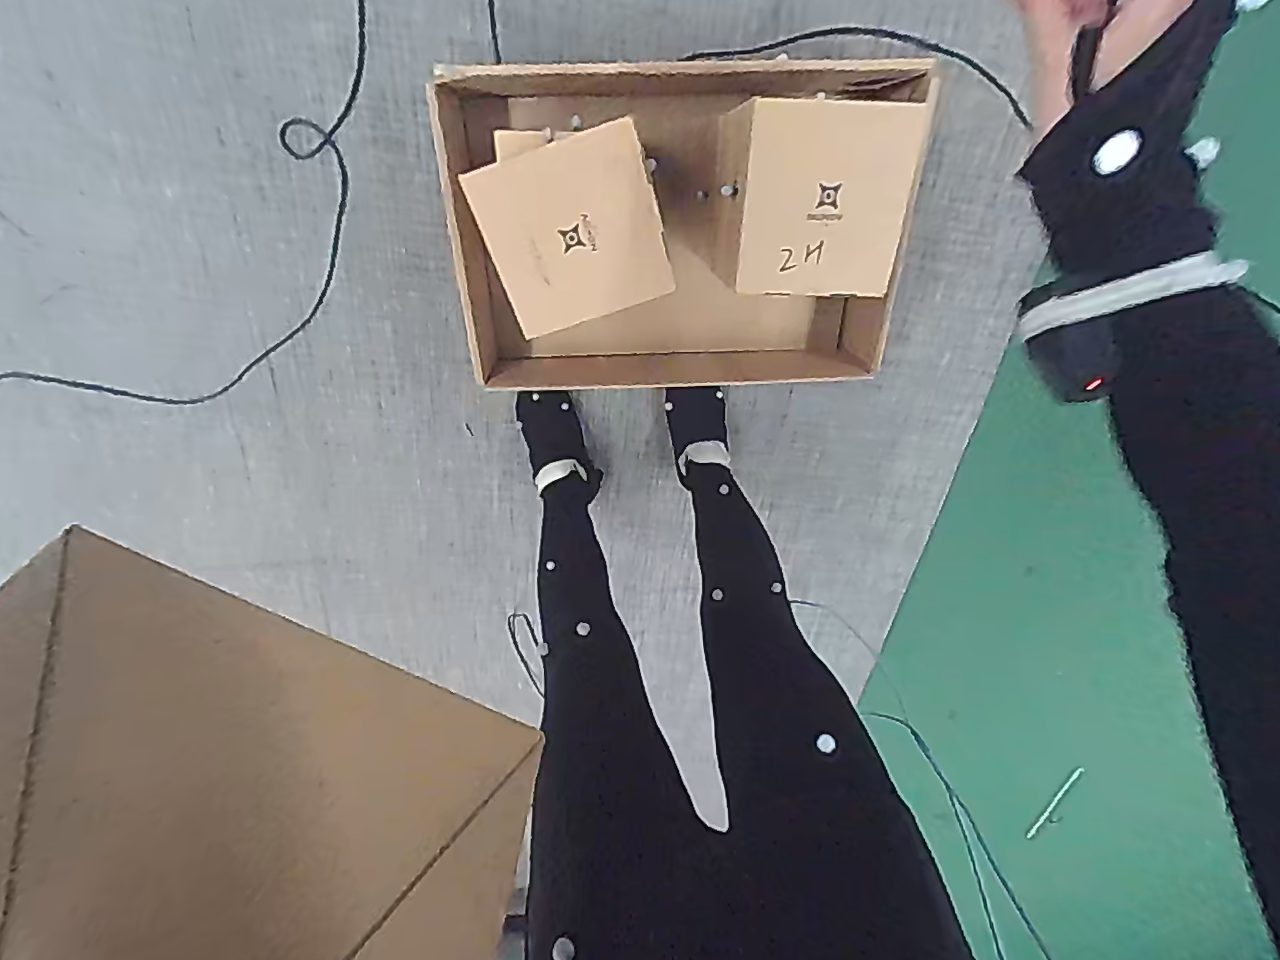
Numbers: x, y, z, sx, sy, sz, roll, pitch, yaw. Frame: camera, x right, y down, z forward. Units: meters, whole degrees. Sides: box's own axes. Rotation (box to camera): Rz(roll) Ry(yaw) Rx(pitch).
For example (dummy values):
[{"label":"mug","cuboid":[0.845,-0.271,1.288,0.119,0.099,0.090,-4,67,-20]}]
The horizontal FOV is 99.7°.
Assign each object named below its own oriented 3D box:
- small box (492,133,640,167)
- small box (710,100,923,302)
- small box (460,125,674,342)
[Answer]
[{"label":"small box","cuboid":[-0.092,-0.374,0.743,0.179,0.176,0.168,-3,120,-4]},{"label":"small box","cuboid":[0.176,-0.306,0.606,0.168,0.176,0.179,0,120,-3]},{"label":"small box","cuboid":[-0.074,-0.279,0.611,0.179,0.176,0.168,-16,120,5]}]
